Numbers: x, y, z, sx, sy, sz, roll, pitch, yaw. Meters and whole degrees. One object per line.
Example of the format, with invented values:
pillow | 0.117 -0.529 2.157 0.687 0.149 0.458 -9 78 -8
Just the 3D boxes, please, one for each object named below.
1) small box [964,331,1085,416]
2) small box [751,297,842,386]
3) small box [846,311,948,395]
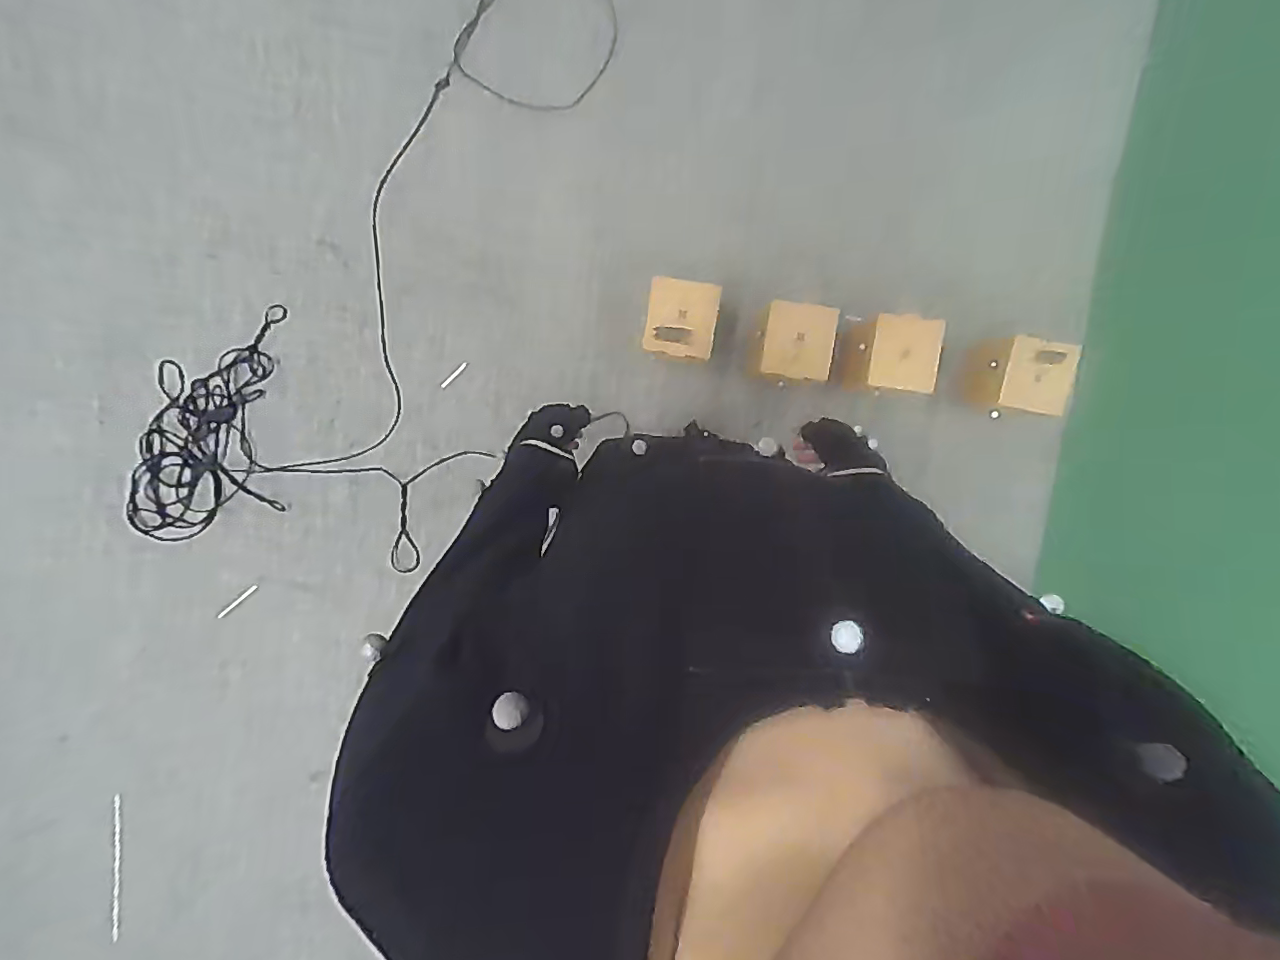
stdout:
small box | 0.959 -0.262 1.367 0.168 0.176 0.179 11 96 -1
small box | 0.383 -0.340 1.356 0.168 0.176 0.179 8 95 0
small box | 0.637 -0.311 1.363 0.168 0.176 0.179 7 95 -1
